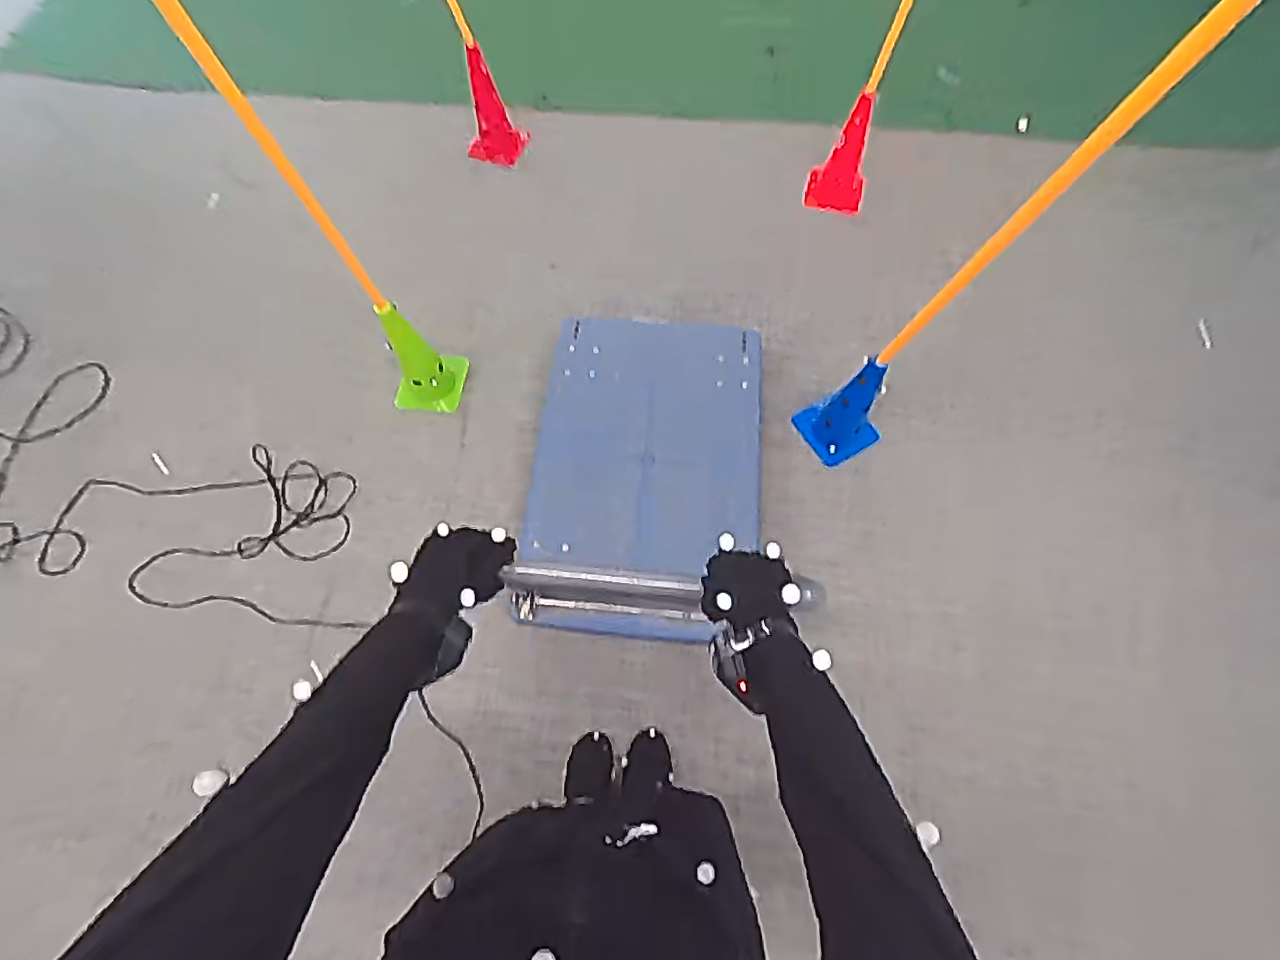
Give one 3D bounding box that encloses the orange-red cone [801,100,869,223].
[{"bbox_3d":[0.700,-1.097,1.837,0.198,0.360,0.199,16,69,8],"label":"orange-red cone"}]
